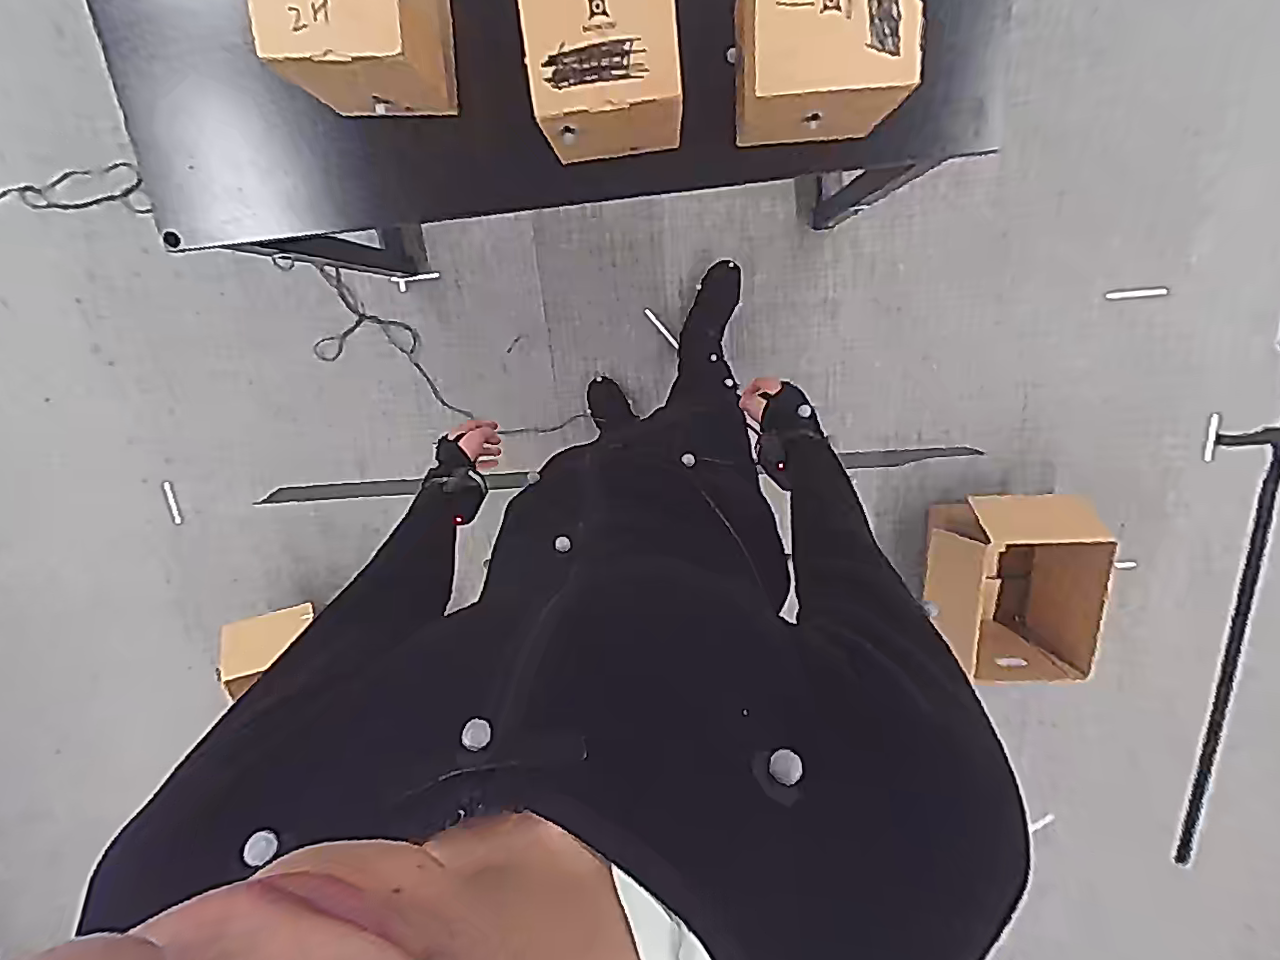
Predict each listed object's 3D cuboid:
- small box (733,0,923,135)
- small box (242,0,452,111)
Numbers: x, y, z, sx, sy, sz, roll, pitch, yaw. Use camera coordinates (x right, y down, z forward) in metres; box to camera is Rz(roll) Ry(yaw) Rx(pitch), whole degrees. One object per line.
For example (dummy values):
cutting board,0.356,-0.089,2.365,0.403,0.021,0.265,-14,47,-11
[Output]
small box,0.205,-0.524,0.627,0.179,0.176,0.168,-2,106,4
small box,-0.336,-0.567,0.636,0.168,0.176,0.179,1,106,2
